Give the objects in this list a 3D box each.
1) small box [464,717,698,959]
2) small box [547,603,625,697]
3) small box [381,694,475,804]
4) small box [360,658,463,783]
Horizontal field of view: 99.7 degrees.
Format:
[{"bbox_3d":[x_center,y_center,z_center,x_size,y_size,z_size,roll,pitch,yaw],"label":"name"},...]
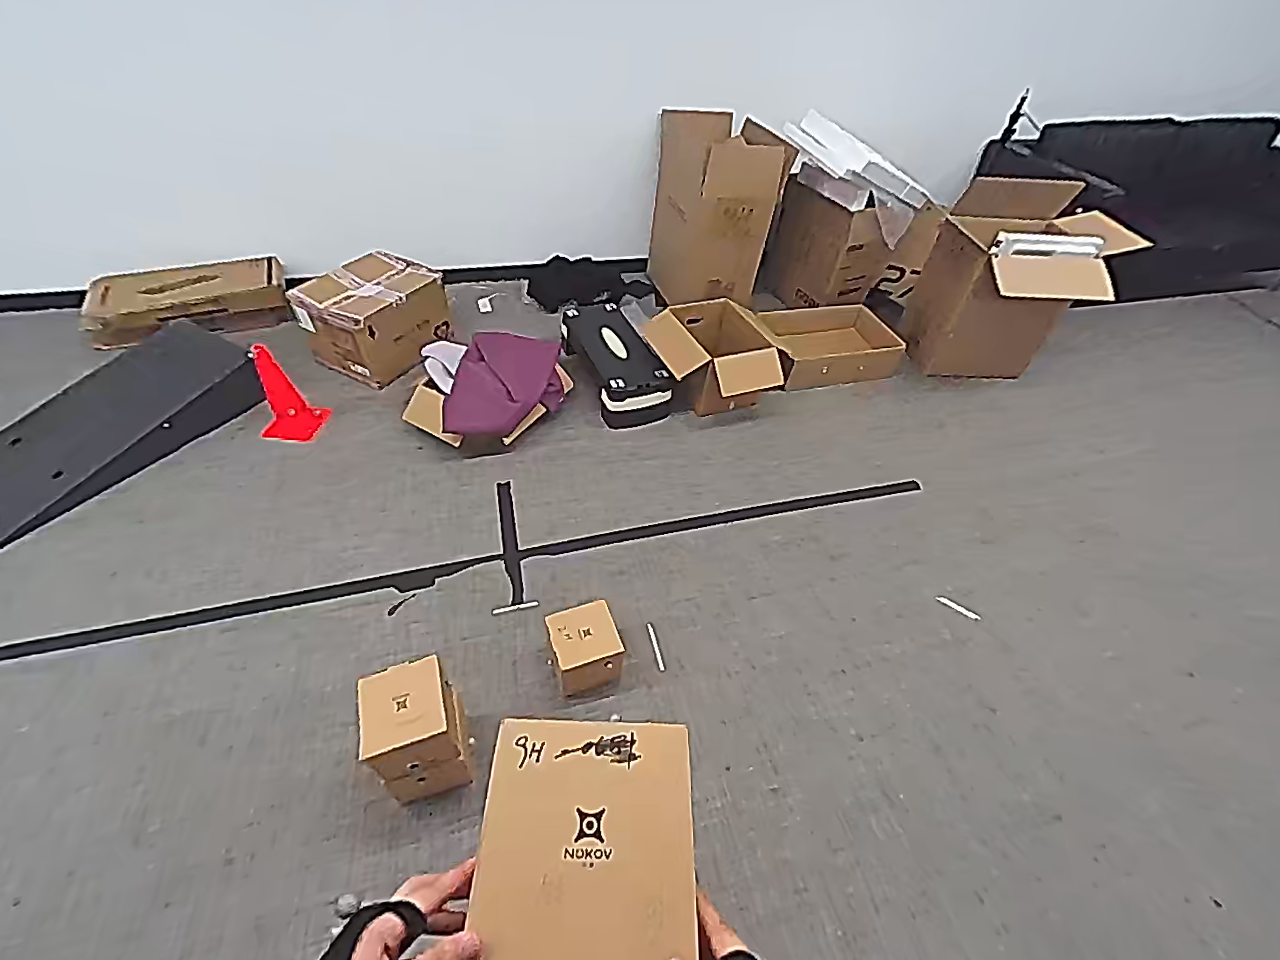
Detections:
[{"bbox_3d":[-0.043,0.329,0.481,0.168,0.176,0.179,2,48,-3],"label":"small box"},{"bbox_3d":[-0.154,0.471,1.498,0.179,0.176,0.168,-13,49,-18],"label":"small box"},{"bbox_3d":[-0.505,0.647,1.295,0.179,0.176,0.168,-11,49,-16],"label":"small box"},{"bbox_3d":[-0.498,0.527,1.185,0.168,0.176,0.179,-15,51,-17],"label":"small box"}]
